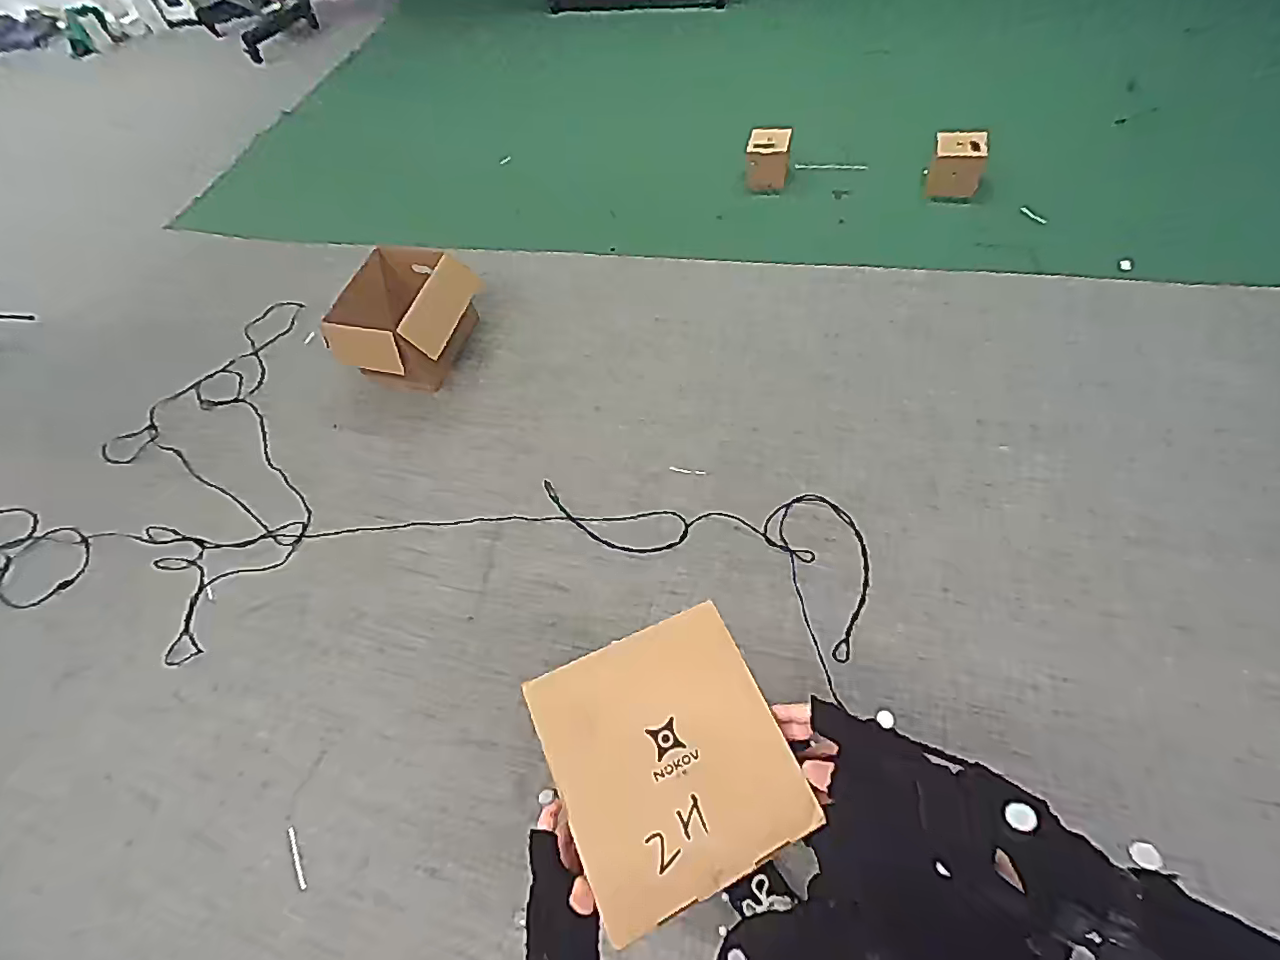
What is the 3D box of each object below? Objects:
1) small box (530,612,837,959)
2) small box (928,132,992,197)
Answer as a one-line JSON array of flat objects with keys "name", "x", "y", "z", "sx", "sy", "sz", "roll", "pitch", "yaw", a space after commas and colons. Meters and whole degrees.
[{"name": "small box", "x": 0.019, "y": 0.239, "z": 0.447, "sx": 0.168, "sy": 0.176, "sz": 0.179, "roll": -21, "pitch": 65, "yaw": -15}, {"name": "small box", "x": 1.259, "y": -1.241, "z": 2.133, "sx": 0.179, "sy": 0.176, "sz": 0.168, "roll": 10, "pitch": 61, "yaw": 15}]
